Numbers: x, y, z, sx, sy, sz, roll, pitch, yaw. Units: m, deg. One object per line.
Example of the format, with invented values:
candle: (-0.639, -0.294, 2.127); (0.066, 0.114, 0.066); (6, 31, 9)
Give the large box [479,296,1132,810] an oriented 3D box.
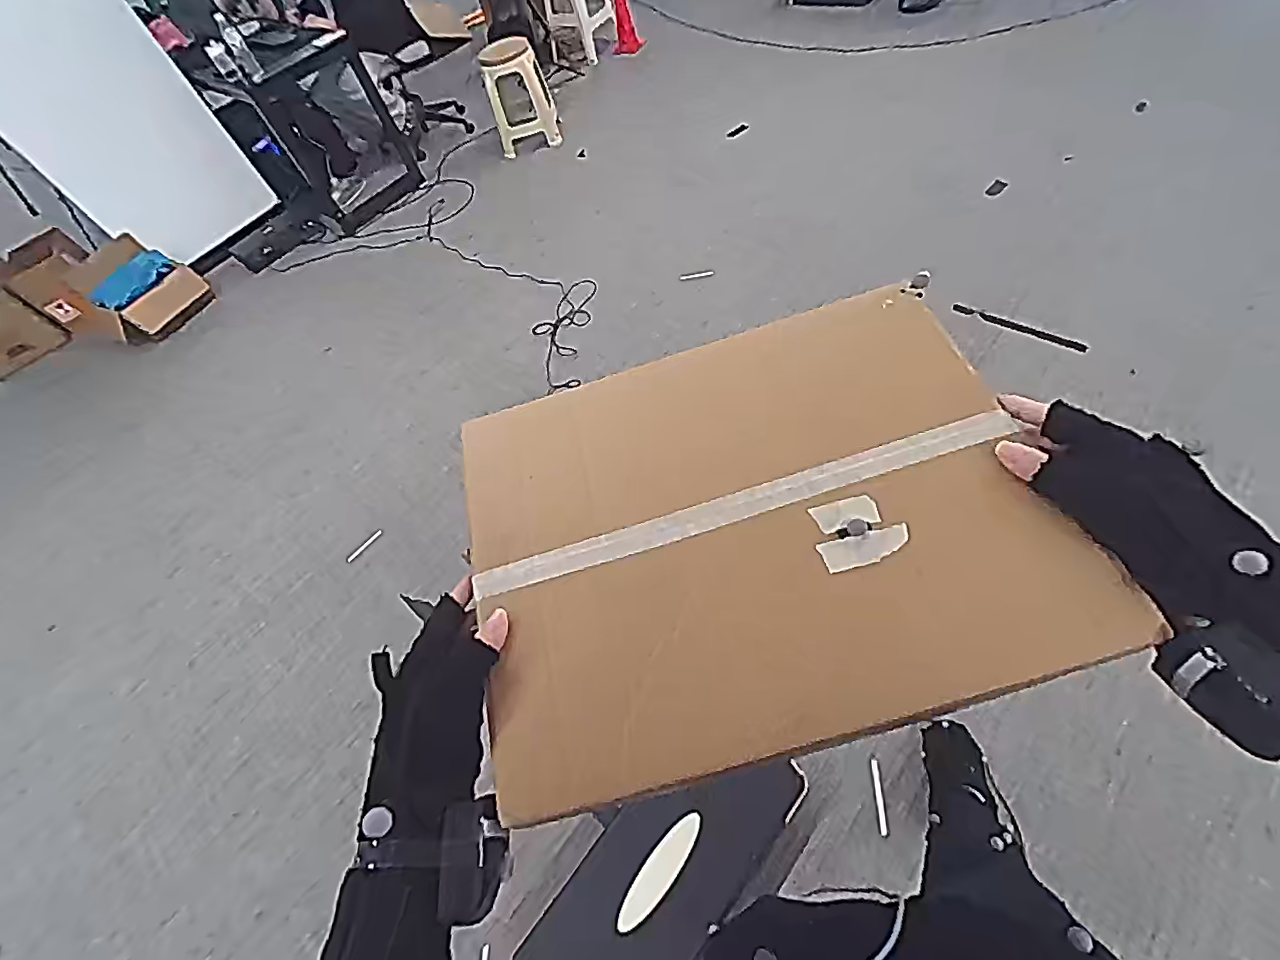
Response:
large box: (0.103, 0.092, 0.537); (0.408, 0.320, 0.320); (-18, 60, 2)
